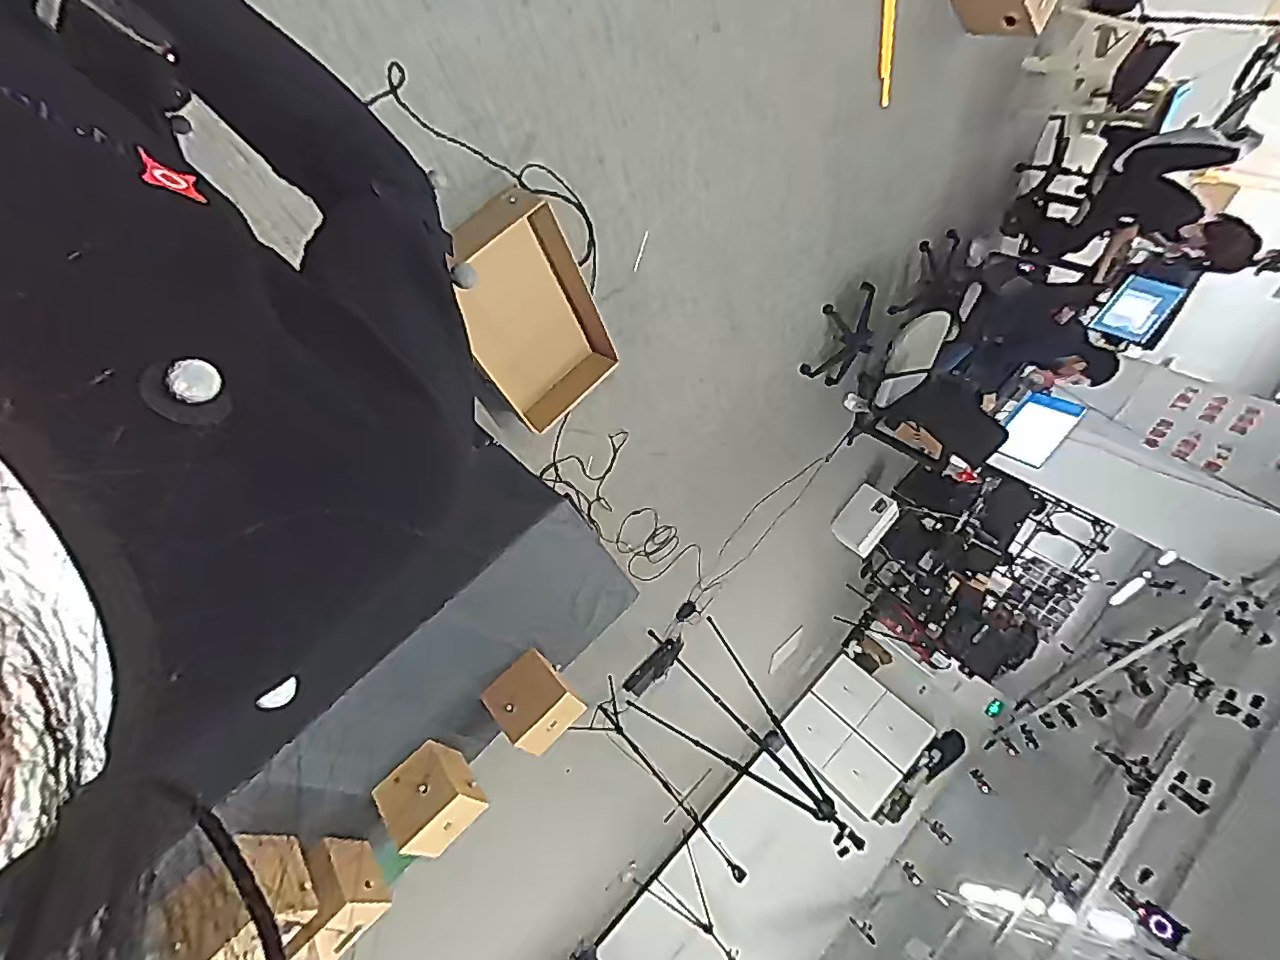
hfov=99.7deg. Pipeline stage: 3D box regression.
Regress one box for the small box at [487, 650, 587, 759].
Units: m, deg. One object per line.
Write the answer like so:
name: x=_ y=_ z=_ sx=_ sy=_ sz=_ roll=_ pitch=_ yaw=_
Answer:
small box: x=-0.274 y=0.582 z=1.406 sx=0.179 sy=0.176 sz=0.168 roll=-41 pitch=144 yaw=-15

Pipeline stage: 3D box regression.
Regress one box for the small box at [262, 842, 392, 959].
small box: x=-0.712 y=0.966 z=1.235 sx=0.168 sy=0.176 sz=0.179 roll=-42 pitch=144 yaw=-17

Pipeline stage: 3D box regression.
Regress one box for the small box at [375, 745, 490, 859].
small box: x=-0.506 y=0.778 z=1.315 sx=0.168 sy=0.176 sz=0.179 roll=-41 pitch=145 yaw=-17
